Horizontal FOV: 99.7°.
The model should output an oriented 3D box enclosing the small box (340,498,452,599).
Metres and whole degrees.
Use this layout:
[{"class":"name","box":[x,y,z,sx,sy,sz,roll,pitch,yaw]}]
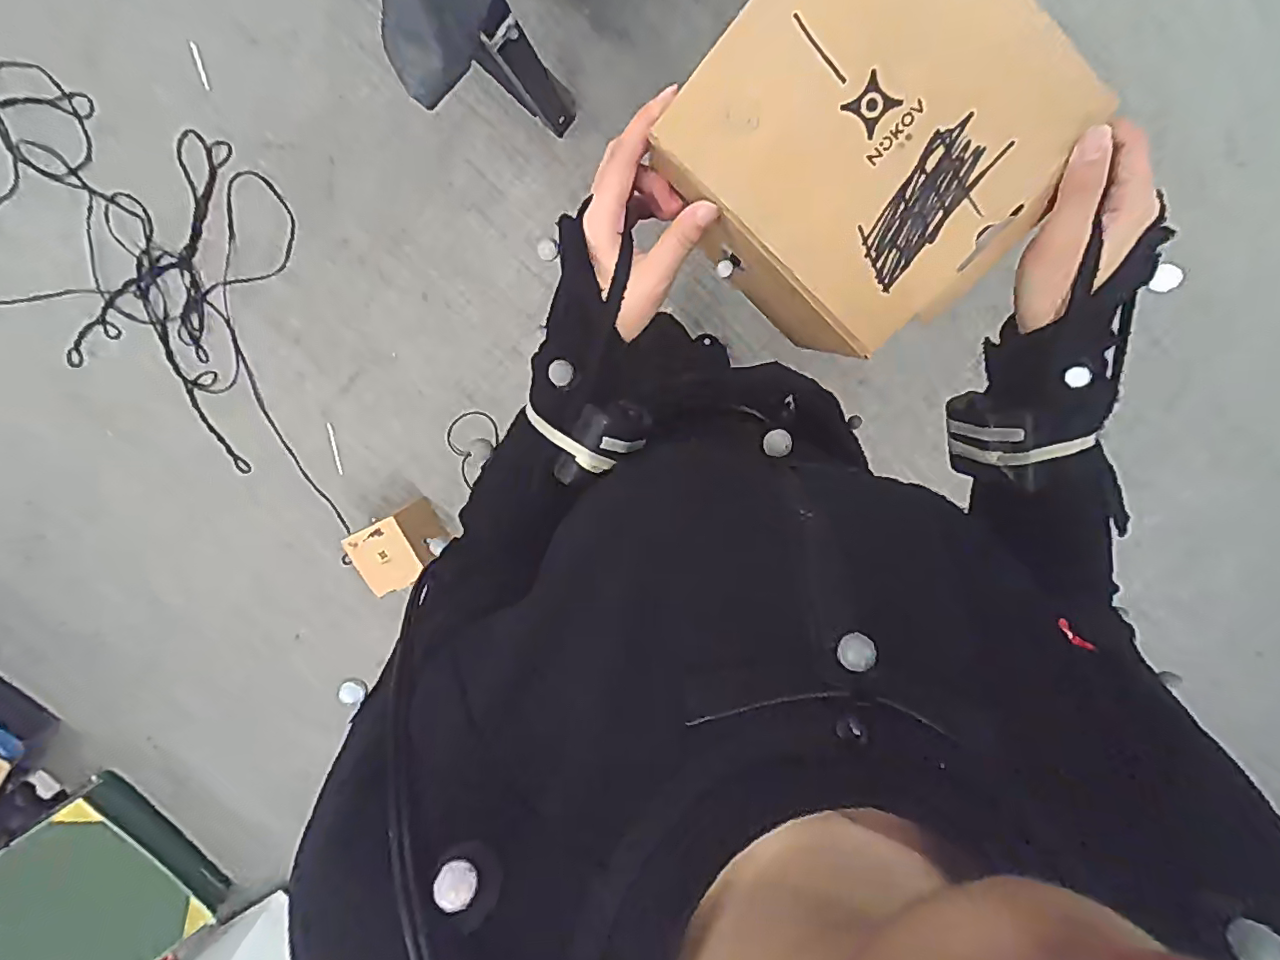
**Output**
[{"class":"small box","box":[-0.622,0.173,1.407,0.168,0.176,0.179,-24,103,12]}]
